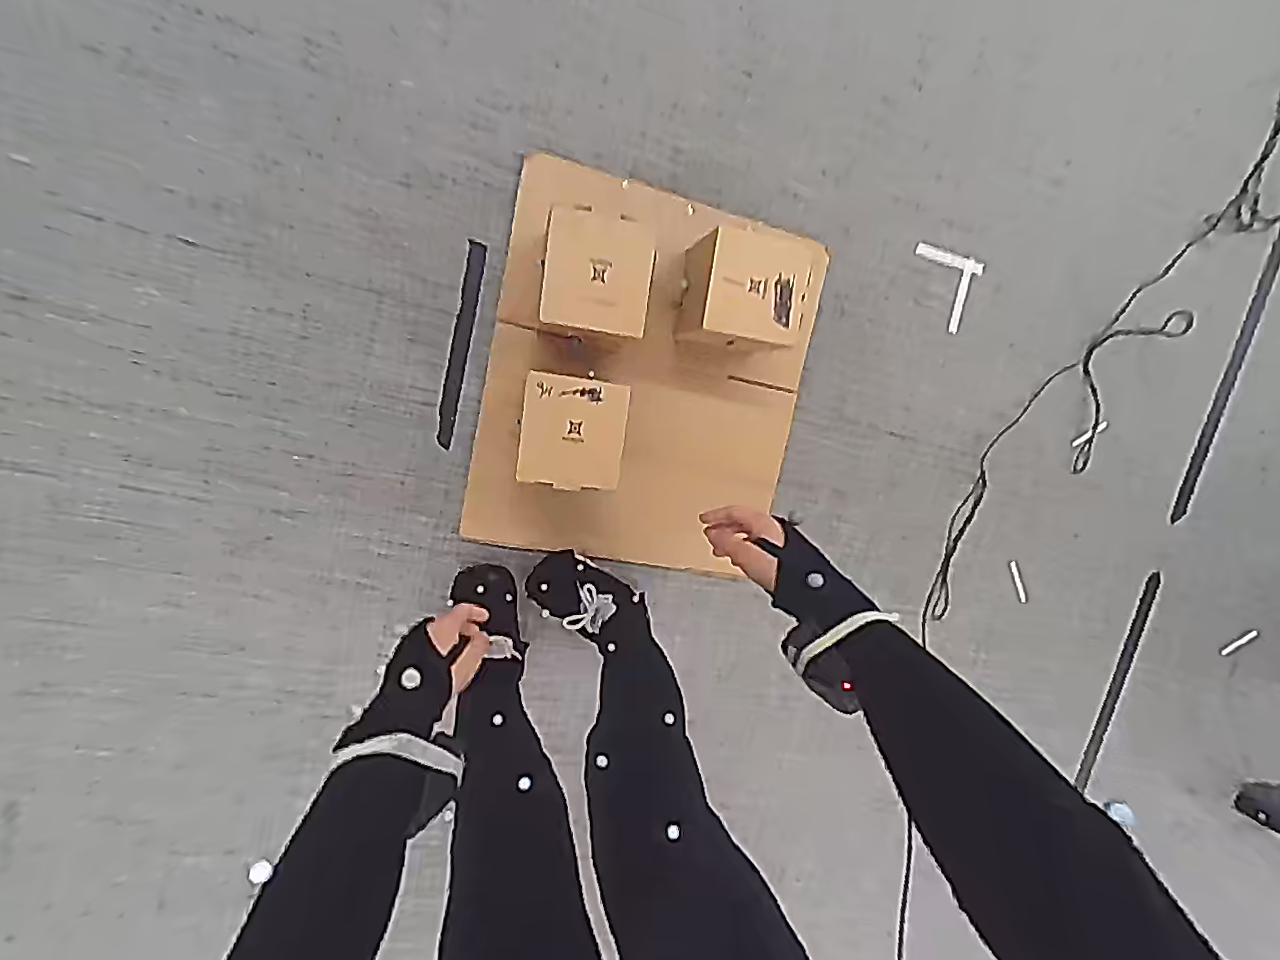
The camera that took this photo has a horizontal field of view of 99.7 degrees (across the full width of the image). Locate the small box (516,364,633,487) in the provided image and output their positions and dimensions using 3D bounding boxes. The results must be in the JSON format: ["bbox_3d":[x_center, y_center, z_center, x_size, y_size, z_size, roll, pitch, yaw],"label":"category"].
[{"bbox_3d":[-0.119,-0.098,0.924,0.168,0.176,0.179,6,100,-15],"label":"small box"}]

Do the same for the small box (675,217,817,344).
[{"bbox_3d":[0.178,-0.338,0.954,0.179,0.176,0.168,6,98,-14],"label":"small box"}]
